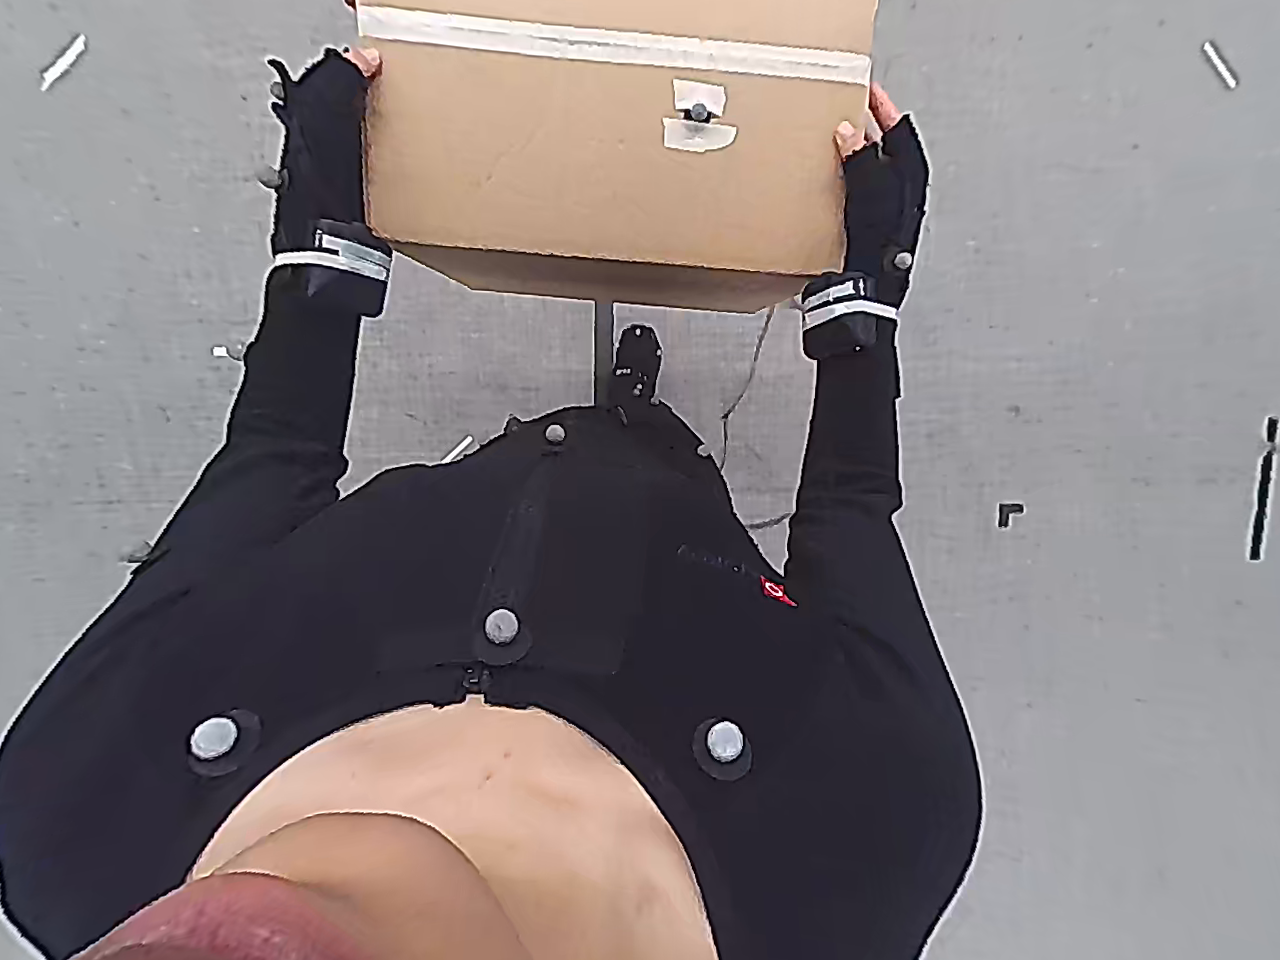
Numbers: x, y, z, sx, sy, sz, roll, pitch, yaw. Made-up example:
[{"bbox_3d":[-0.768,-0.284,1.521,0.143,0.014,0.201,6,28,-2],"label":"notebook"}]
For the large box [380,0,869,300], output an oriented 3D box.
[{"bbox_3d":[-0.021,-0.384,0.591,0.408,0.320,0.320,3,102,-3],"label":"large box"}]
